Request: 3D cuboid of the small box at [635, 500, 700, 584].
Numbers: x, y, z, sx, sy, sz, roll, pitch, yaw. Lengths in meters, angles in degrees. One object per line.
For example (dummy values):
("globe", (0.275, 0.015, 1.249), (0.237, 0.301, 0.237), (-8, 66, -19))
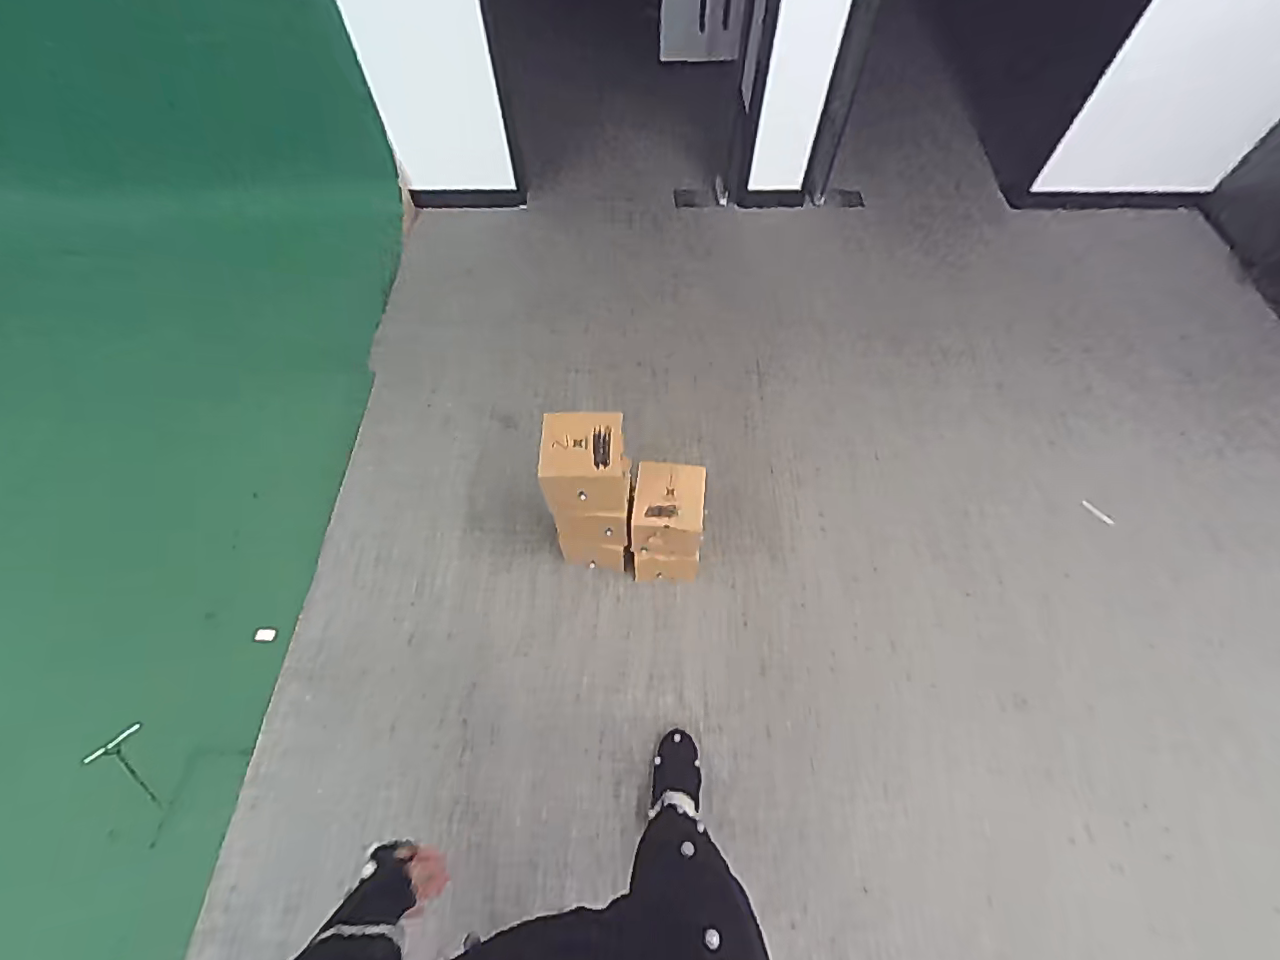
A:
("small box", (0.072, 0.171, 1.479), (0.168, 0.176, 0.179), (1, 61, 0))
